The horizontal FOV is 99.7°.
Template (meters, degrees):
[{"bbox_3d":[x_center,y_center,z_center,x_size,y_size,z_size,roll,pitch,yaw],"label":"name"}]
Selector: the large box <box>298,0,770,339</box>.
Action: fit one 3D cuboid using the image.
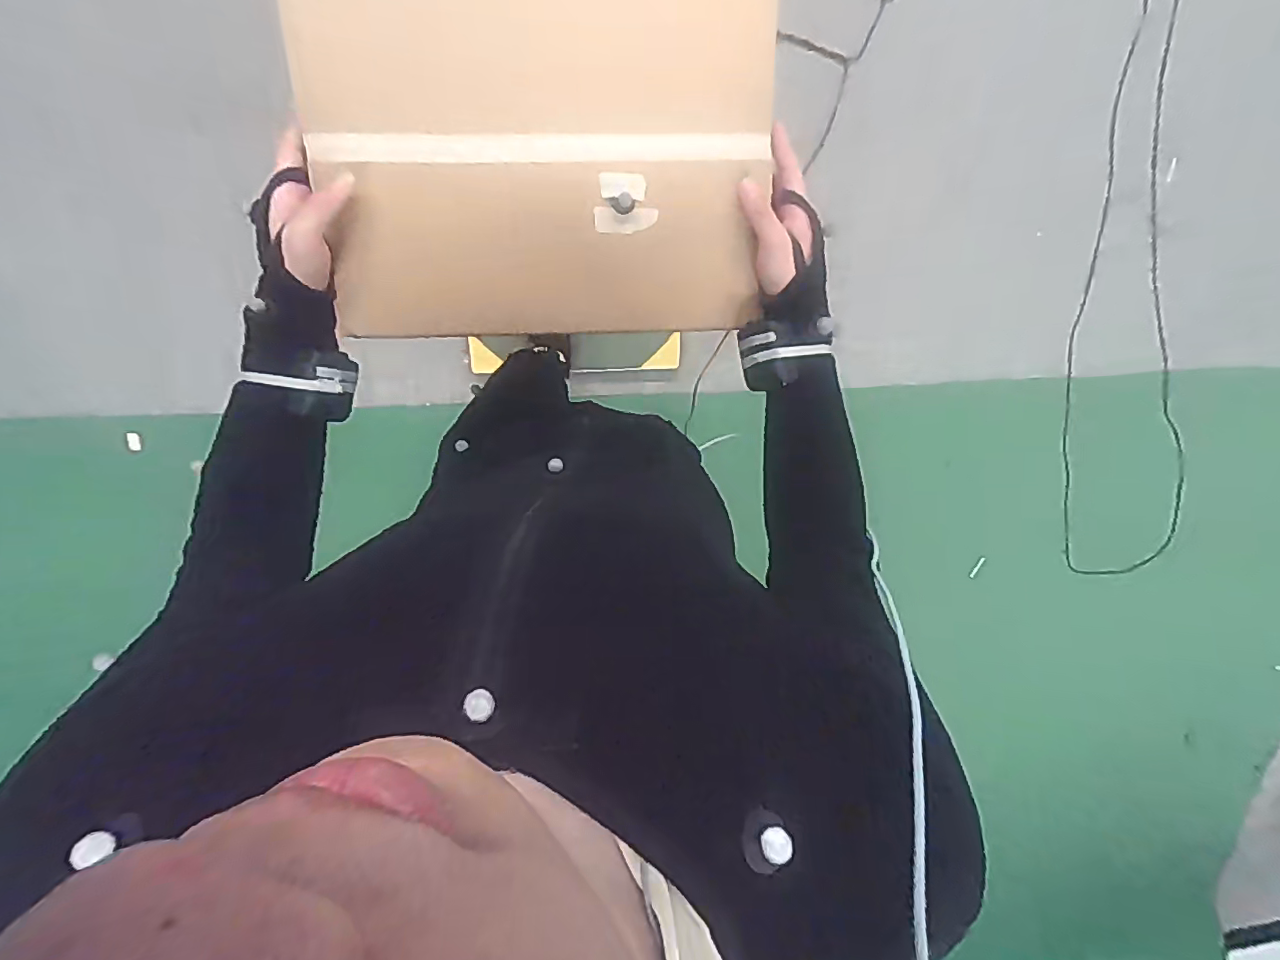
[{"bbox_3d":[-0.096,-0.334,0.632,0.408,0.320,0.320,-3,107,-6],"label":"large box"}]
